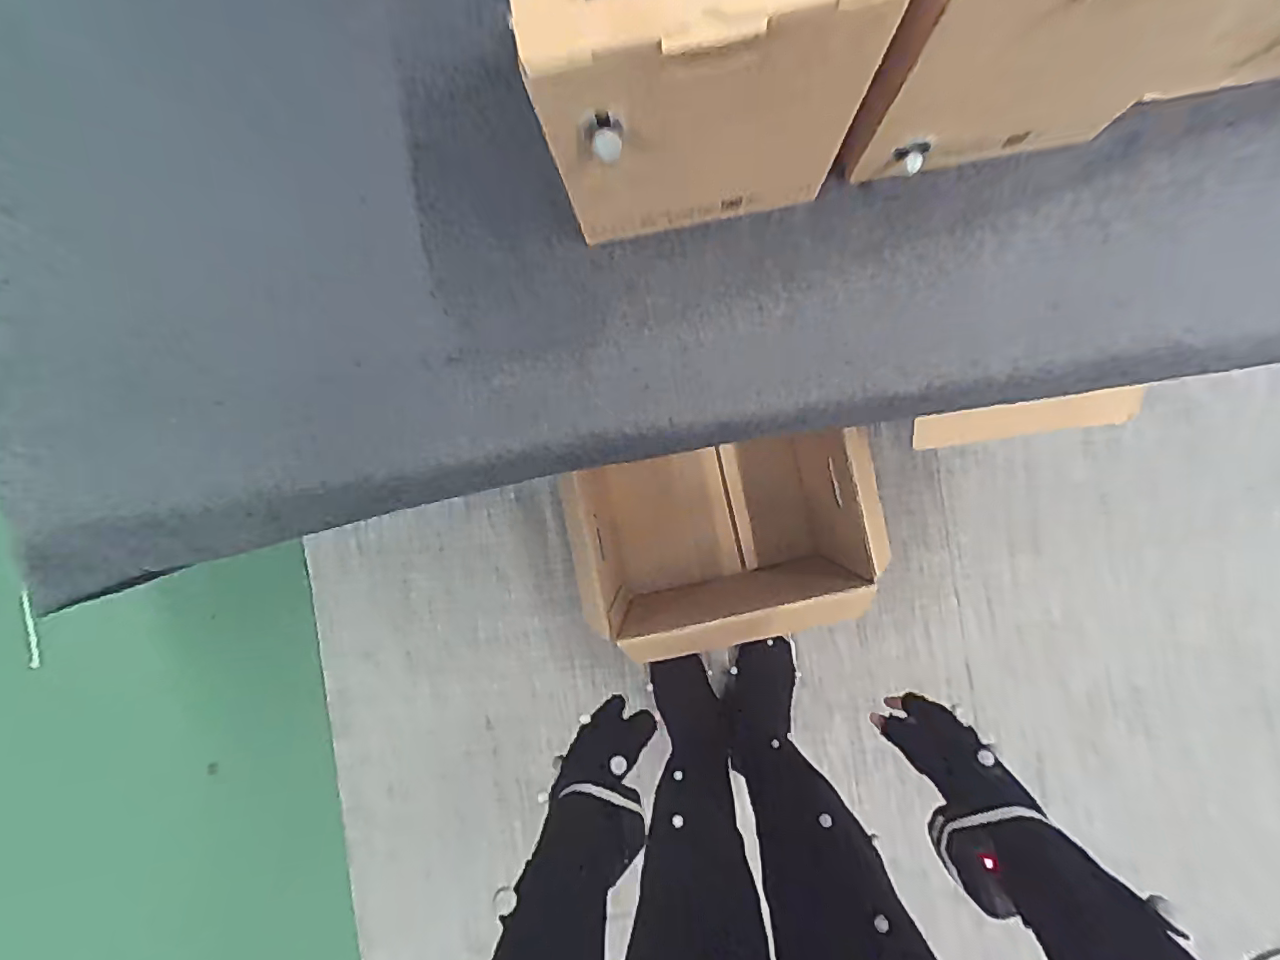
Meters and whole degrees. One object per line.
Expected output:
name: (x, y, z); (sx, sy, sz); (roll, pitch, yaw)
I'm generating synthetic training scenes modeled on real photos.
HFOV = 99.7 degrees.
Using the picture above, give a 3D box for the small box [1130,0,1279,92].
small box: (0.398, -0.352, 0.277); (0.168, 0.176, 0.179); (-8, 90, 4)
